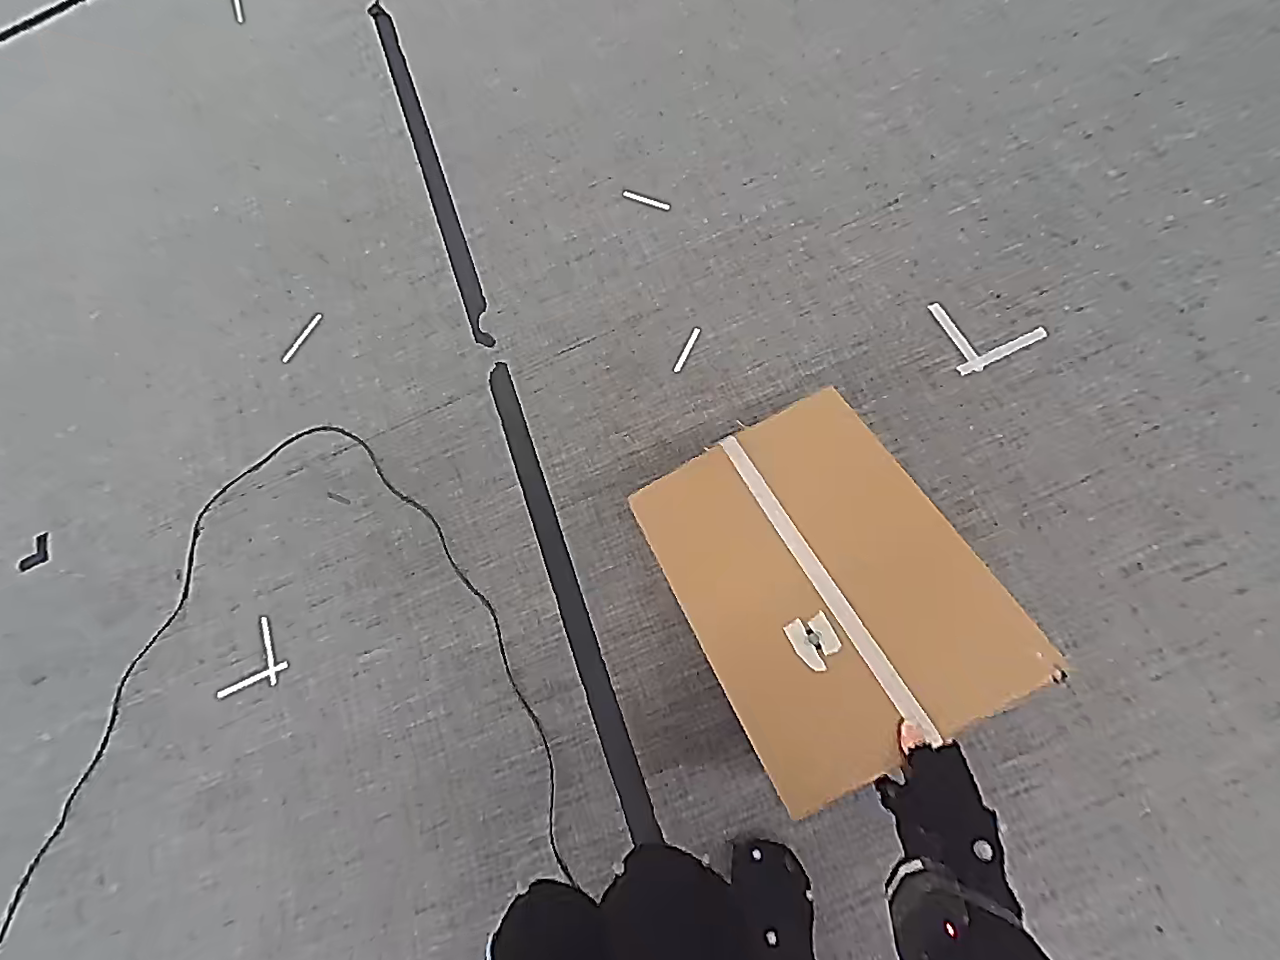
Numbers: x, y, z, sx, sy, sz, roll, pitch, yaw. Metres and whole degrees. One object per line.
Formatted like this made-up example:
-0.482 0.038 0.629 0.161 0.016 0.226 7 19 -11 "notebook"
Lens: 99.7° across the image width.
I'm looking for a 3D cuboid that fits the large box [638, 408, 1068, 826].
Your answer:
0.245 0.184 0.762 0.320 0.320 0.408 -29 61 1 "large box"
